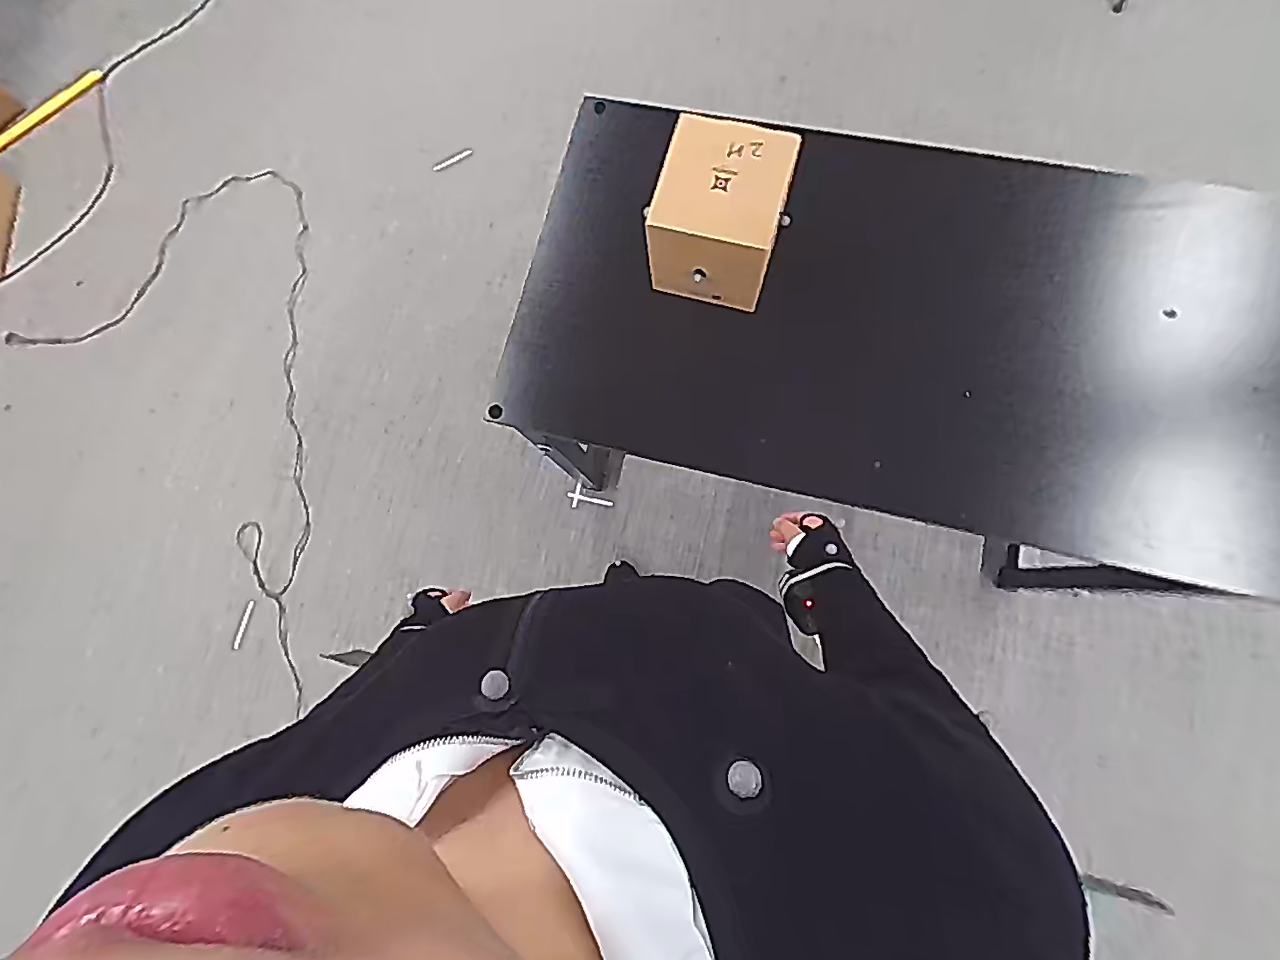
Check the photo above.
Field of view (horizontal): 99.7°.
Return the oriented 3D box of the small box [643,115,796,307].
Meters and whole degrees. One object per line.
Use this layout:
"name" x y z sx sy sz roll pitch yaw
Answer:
"small box" 0.113 -0.380 0.789 0.168 0.176 0.179 16 81 8
